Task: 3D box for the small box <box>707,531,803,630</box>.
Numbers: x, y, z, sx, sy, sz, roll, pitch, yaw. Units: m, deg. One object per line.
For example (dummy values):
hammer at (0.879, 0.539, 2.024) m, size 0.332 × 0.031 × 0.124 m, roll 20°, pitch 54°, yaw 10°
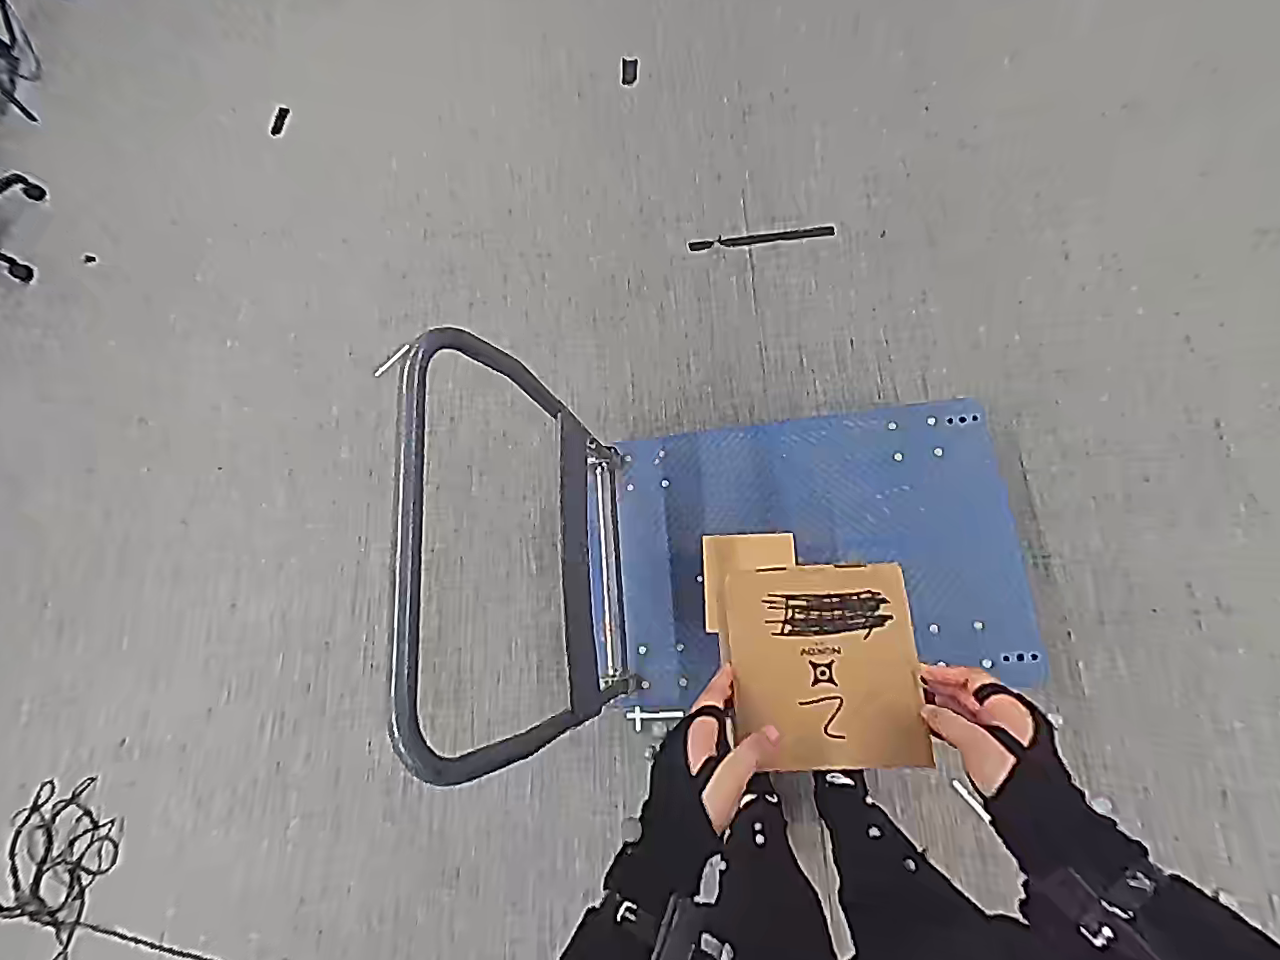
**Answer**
small box at (0.216, 0.199, 1.048) m, size 0.168 × 0.176 × 0.179 m, roll -3°, pitch 76°, yaw 10°
